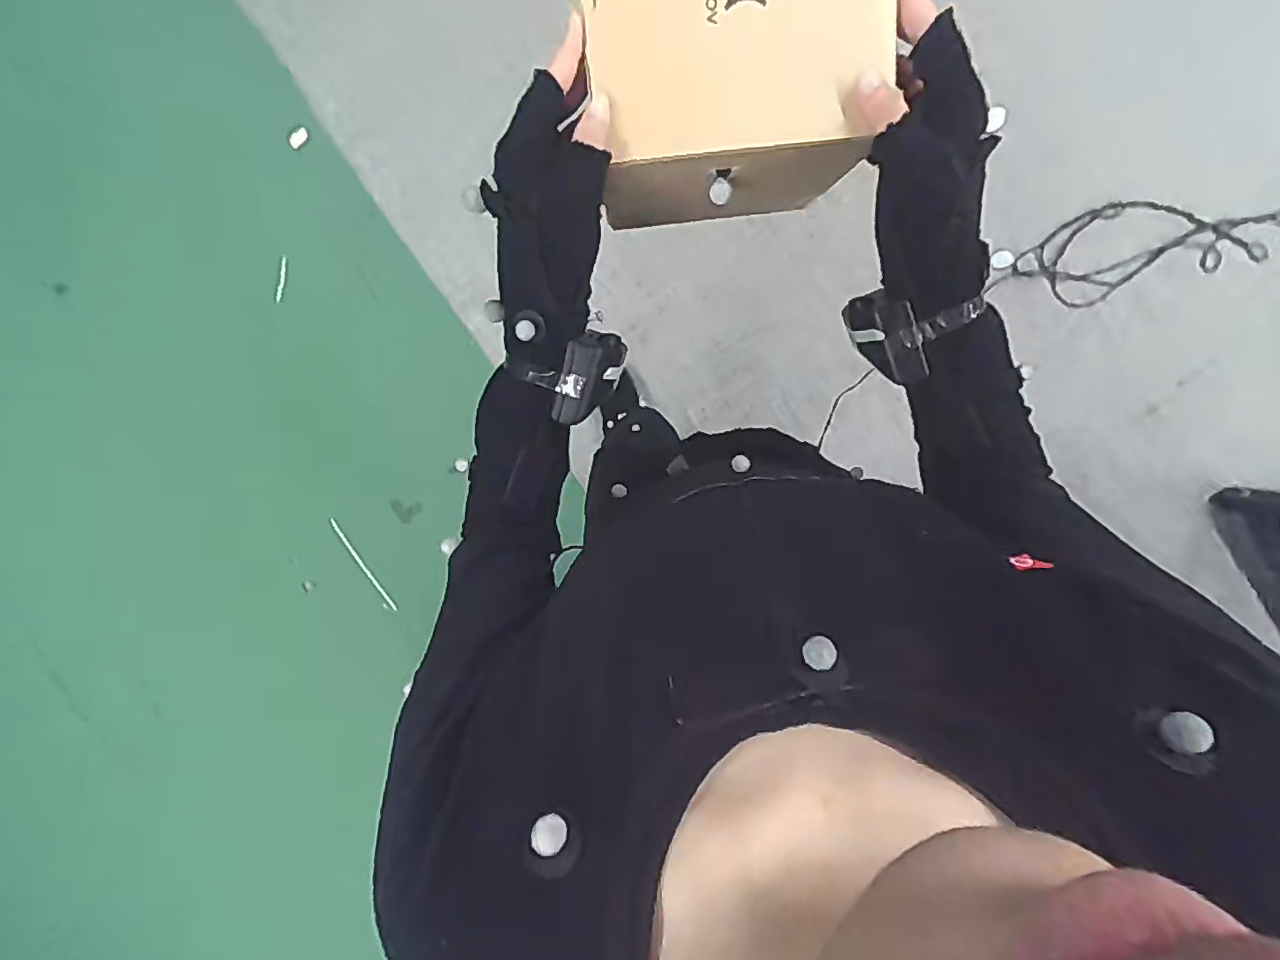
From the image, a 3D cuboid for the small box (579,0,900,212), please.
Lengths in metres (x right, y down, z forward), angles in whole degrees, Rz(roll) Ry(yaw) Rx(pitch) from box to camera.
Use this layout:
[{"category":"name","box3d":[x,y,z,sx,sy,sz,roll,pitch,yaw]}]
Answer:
[{"category":"small box","box3d":[0.054,-0.295,0.367,0.179,0.176,0.168,-4,103,3]}]
